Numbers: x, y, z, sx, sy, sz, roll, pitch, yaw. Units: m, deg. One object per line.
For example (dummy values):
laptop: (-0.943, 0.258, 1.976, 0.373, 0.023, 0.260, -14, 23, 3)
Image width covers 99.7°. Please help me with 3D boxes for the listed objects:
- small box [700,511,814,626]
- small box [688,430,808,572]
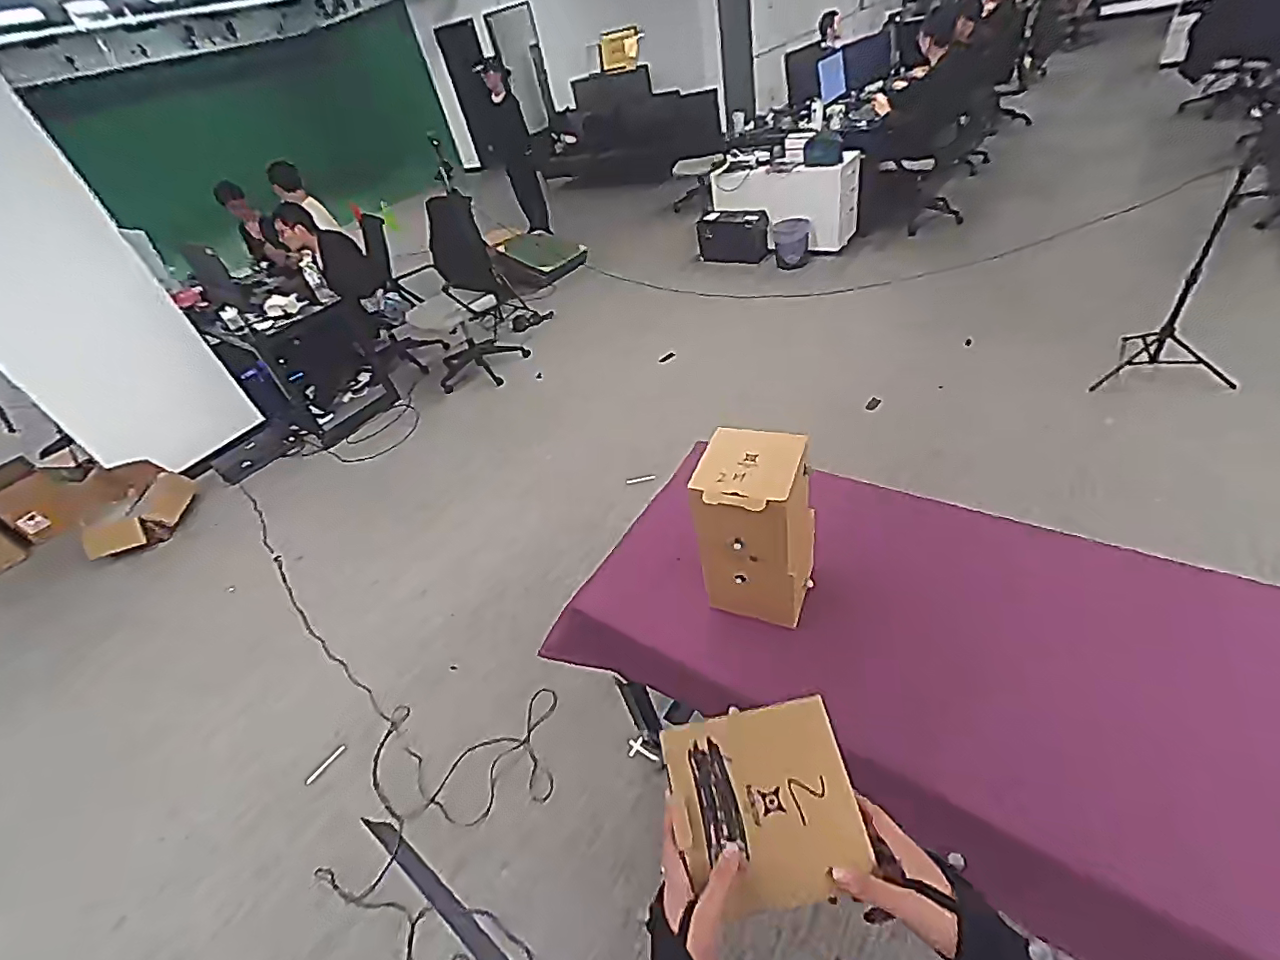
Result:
small box: (0.234, 0.162, 1.060, 0.179, 0.176, 0.168, 10, 46, 25)
small box: (0.198, 0.034, 0.961, 0.168, 0.176, 0.179, 8, 45, 25)
